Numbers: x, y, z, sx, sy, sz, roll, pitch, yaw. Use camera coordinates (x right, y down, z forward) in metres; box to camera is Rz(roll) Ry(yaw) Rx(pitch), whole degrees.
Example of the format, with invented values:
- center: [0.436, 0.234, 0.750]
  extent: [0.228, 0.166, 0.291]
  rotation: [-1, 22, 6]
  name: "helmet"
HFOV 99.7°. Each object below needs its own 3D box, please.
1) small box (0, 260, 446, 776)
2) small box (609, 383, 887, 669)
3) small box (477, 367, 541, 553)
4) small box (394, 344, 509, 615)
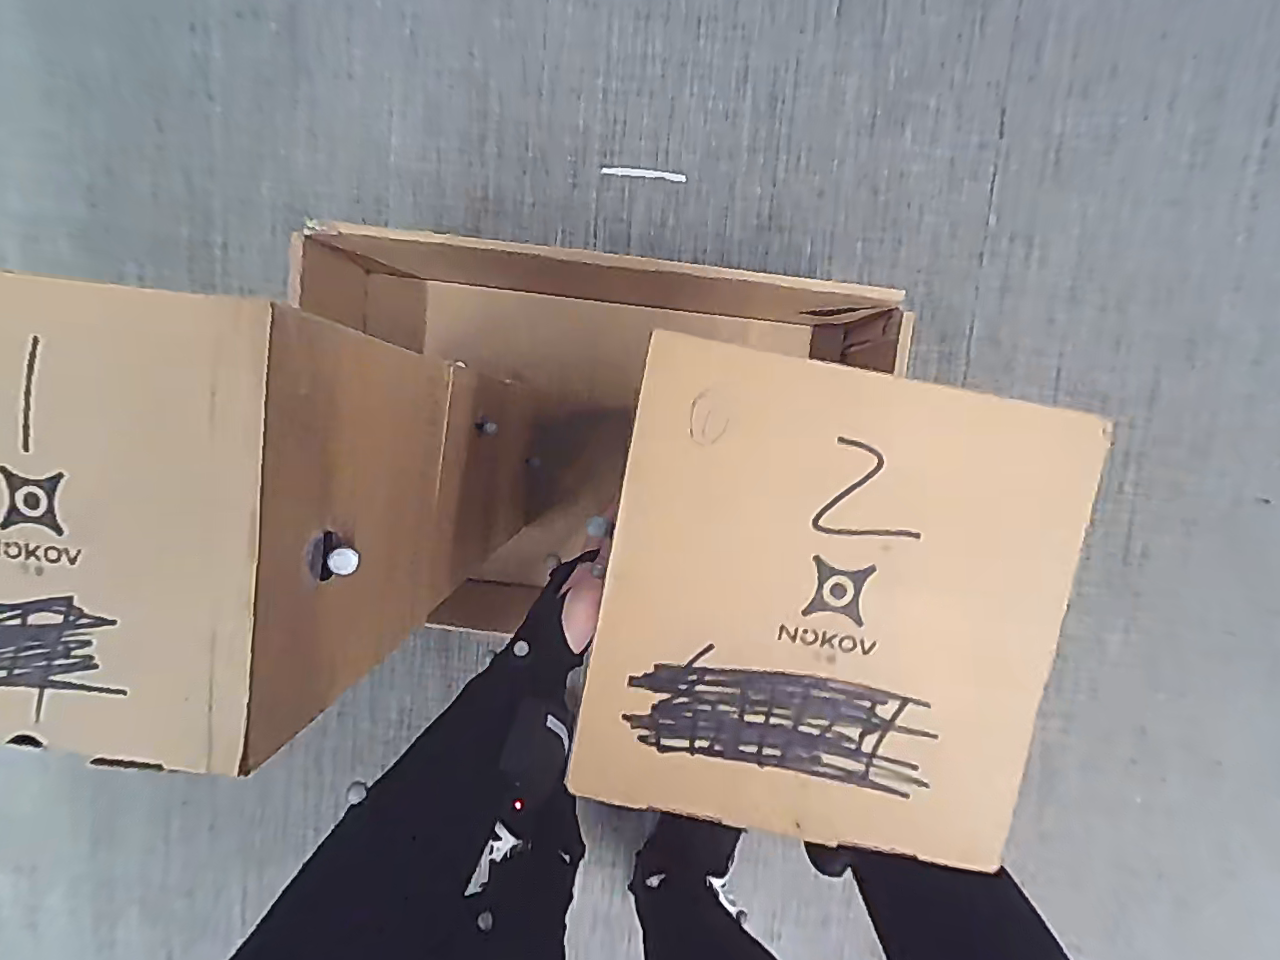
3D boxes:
- center: [-0.210, 0.006, 0.268]
  extent: [0.168, 0.176, 0.179]
  rotation: [7, 95, -1]
  name: "small box"
- center: [0.069, 0.025, 0.437]
  extent: [0.168, 0.176, 0.179]
  rotation: [8, 97, -1]
  name: "small box"
- center: [-0.210, -0.034, 0.592]
  extent: [0.168, 0.176, 0.179]
  rotation: [9, 95, -1]
  name: "small box"
- center: [-0.210, -0.015, 0.432]
  extent: [0.168, 0.176, 0.179]
  rotation: [9, 96, -2]
  name: "small box"
